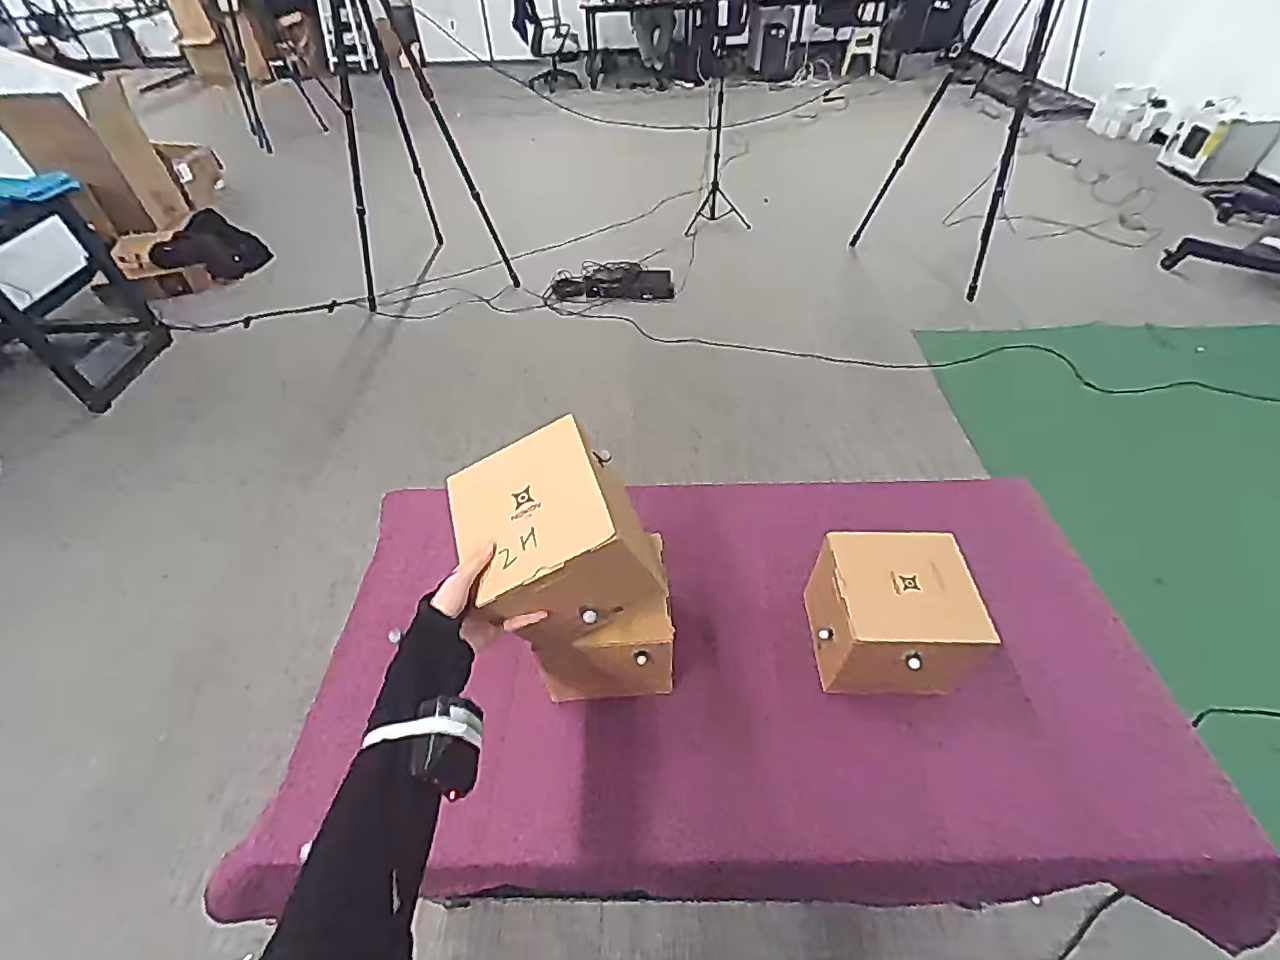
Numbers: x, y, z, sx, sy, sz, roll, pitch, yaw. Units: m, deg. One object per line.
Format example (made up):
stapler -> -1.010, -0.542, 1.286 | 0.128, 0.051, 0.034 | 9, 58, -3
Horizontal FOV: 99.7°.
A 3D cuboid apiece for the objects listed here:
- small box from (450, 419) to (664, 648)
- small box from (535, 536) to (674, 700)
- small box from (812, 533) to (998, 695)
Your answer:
small box -> -0.093, 0.069, 0.630 | 0.168, 0.176, 0.179 | -28, 55, 6
small box -> -0.045, 0.200, 0.773 | 0.179, 0.176, 0.168 | -4, 47, -2
small box -> 0.350, 0.191, 0.762 | 0.179, 0.176, 0.168 | 1, 48, 2
